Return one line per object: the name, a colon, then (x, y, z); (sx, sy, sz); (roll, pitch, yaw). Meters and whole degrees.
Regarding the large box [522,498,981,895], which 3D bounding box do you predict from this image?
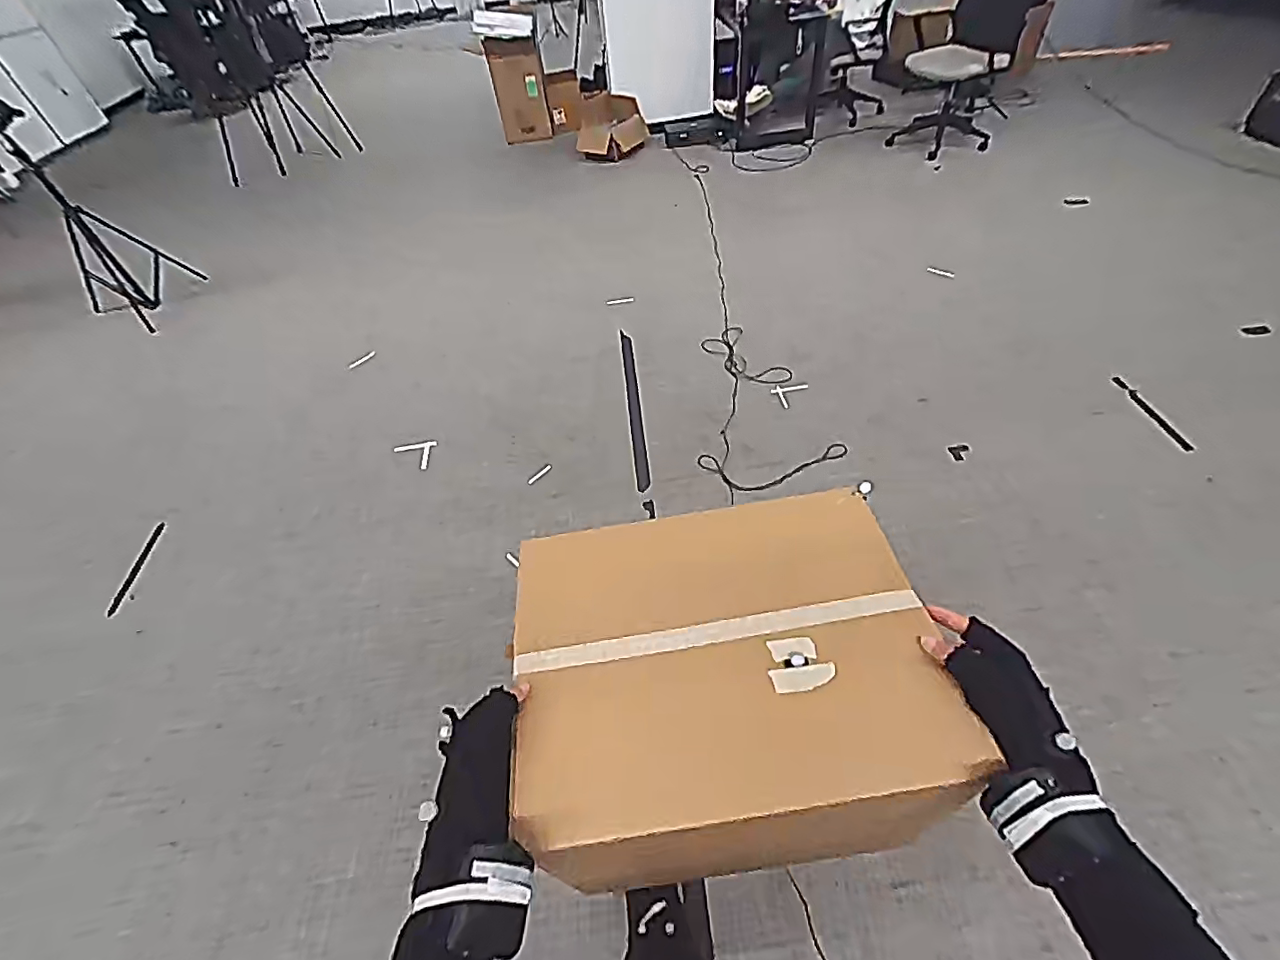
large box: (0.091, 0.265, 0.661); (0.408, 0.320, 0.320); (-9, 47, 0)
